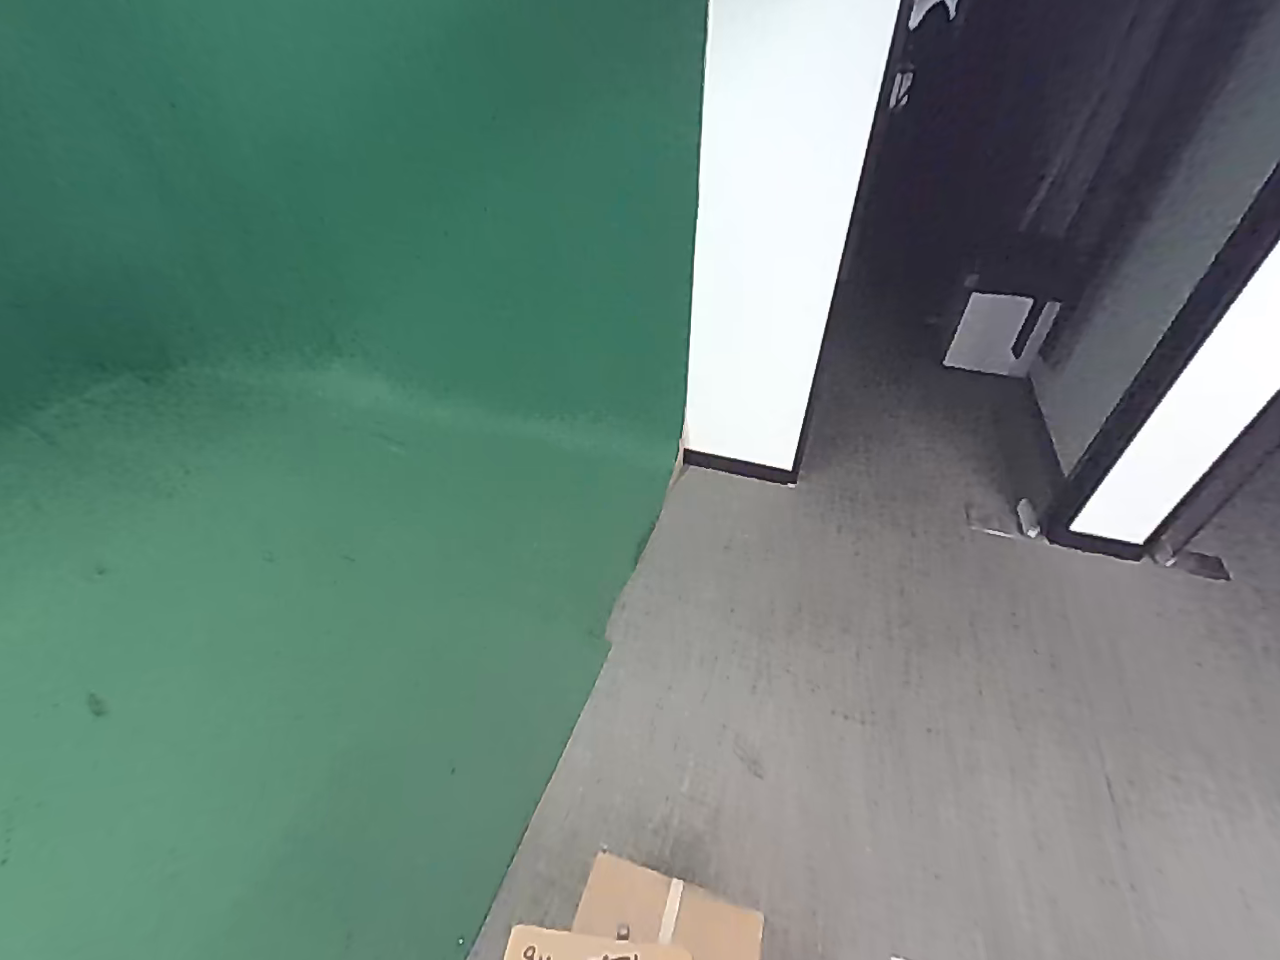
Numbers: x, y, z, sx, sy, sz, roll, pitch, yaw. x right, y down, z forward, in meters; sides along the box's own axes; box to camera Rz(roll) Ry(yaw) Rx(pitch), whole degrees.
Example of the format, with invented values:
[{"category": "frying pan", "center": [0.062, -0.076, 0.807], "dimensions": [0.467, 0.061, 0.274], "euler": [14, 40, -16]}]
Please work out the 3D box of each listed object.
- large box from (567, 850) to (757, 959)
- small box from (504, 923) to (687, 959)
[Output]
[{"category": "large box", "center": [0.002, 0.960, 0.927], "dimensions": [0.320, 0.320, 0.408], "euler": [13, 41, 15]}, {"category": "small box", "center": [-0.044, 0.524, 0.470], "dimensions": [0.168, 0.176, 0.179], "euler": [4, 42, 7]}]
